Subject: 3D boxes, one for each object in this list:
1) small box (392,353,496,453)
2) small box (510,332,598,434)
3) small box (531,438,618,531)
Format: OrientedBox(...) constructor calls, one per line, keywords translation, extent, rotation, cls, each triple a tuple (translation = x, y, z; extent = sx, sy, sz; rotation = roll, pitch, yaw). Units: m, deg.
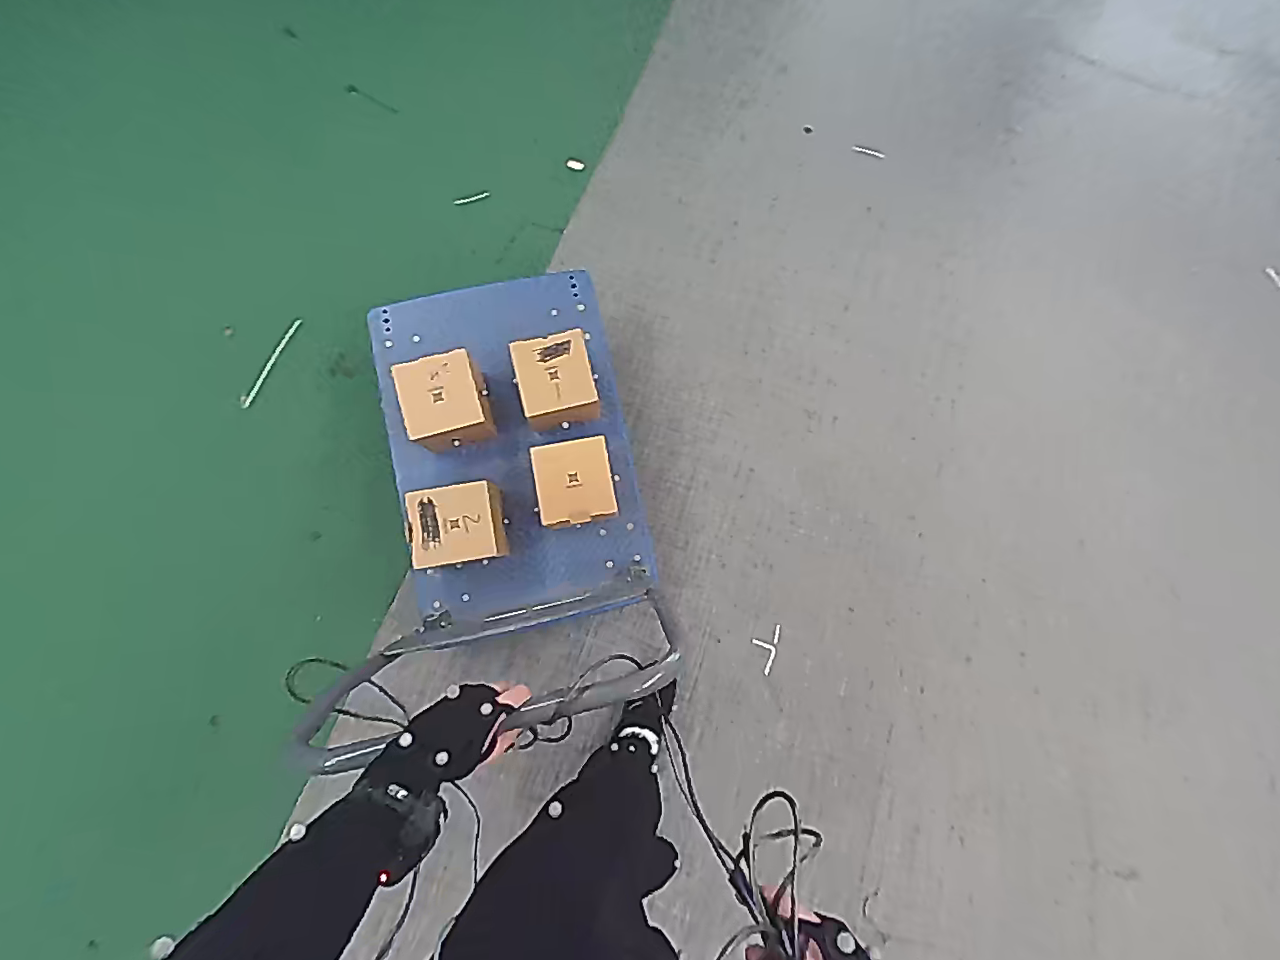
OrientedBox(translation=(-0.447, -0.169, 1.257), extent=(0.168, 0.176, 0.179), rotation=(-16, 84, -6), cls="small box")
OrientedBox(translation=(-0.197, -0.223, 1.277), extent=(0.168, 0.176, 0.179), rotation=(-14, 84, -4), cls="small box")
OrientedBox(translation=(-0.148, 0.016, 1.251), extent=(0.168, 0.176, 0.179), rotation=(-11, 84, -4), cls="small box")
